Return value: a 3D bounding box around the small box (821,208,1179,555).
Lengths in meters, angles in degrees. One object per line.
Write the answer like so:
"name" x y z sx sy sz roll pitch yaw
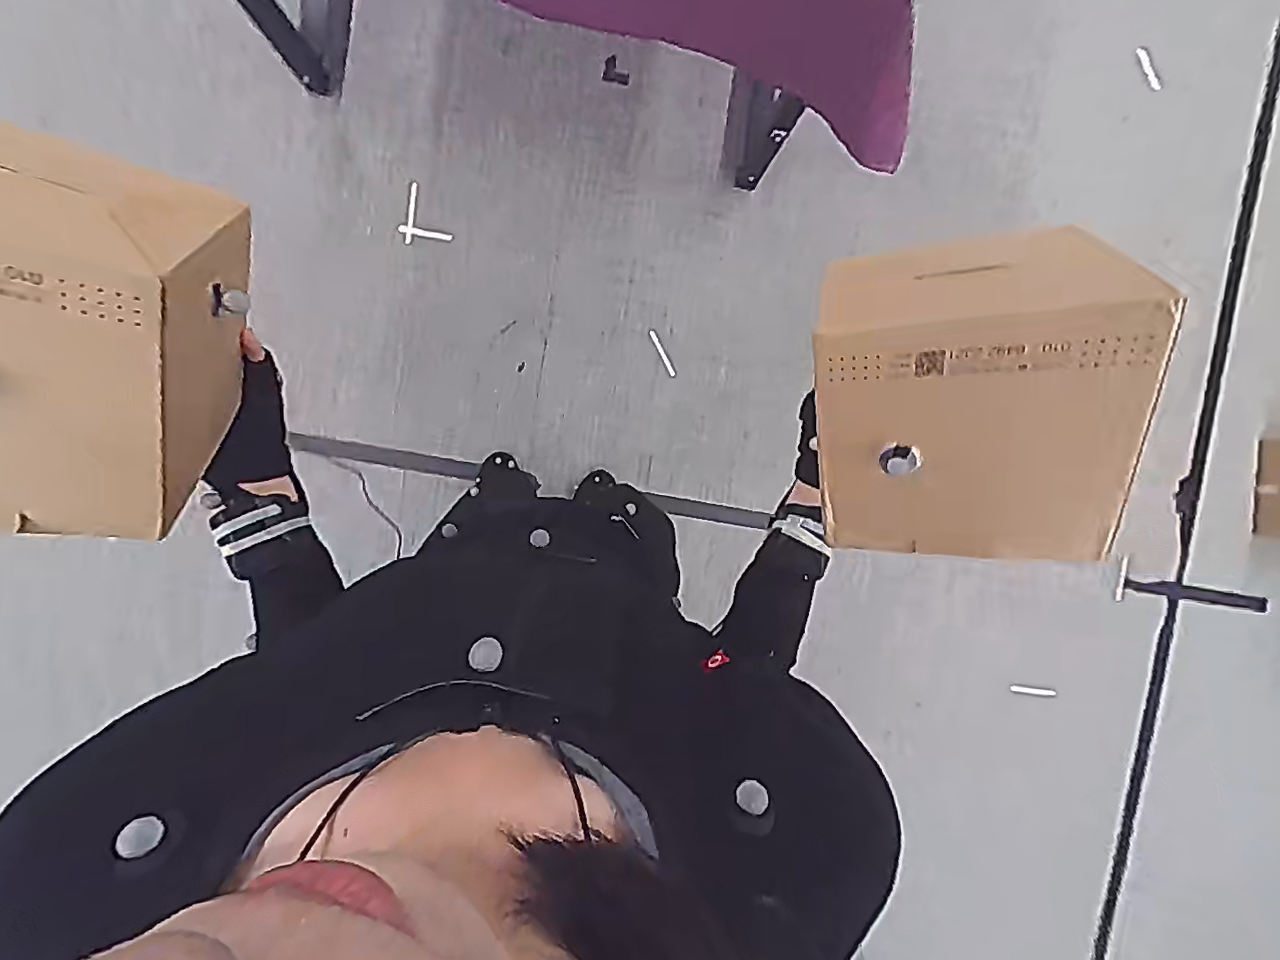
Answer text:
"small box" 0.218 -0.070 0.373 0.168 0.179 0.176 1 125 23

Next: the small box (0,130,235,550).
"small box" -0.346 -0.086 0.298 0.168 0.179 0.176 11 120 -28
